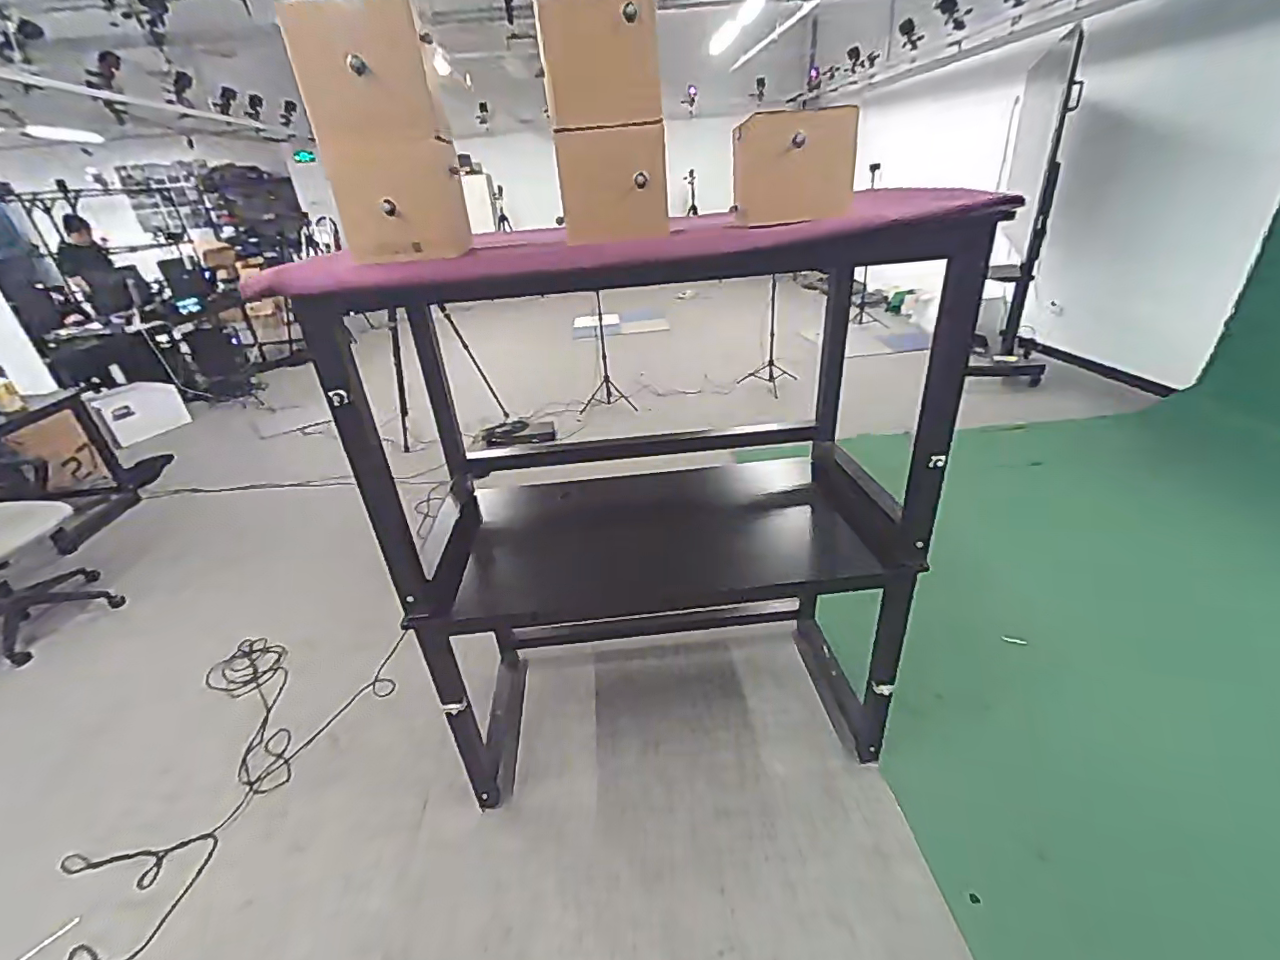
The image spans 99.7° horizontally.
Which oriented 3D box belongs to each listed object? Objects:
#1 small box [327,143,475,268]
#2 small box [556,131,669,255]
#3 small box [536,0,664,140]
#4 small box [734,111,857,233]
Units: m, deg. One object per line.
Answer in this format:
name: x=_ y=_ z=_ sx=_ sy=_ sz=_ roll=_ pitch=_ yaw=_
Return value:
small box: x=-0.382 y=-0.454 z=0.903 sx=0.168 sy=0.176 sz=0.179 roll=-6 pitch=29 yaw=-5
small box: x=-0.045 y=-0.499 z=0.946 sx=0.179 sy=0.176 sz=0.168 roll=-7 pitch=27 yaw=-3
small box: x=-0.063 y=-0.643 z=0.871 sx=0.179 sy=0.176 sz=0.168 roll=-7 pitch=28 yaw=-5
small box: x=0.273 y=-0.547 z=0.980 sx=0.179 sy=0.176 sz=0.168 roll=-5 pitch=26 yaw=-1
